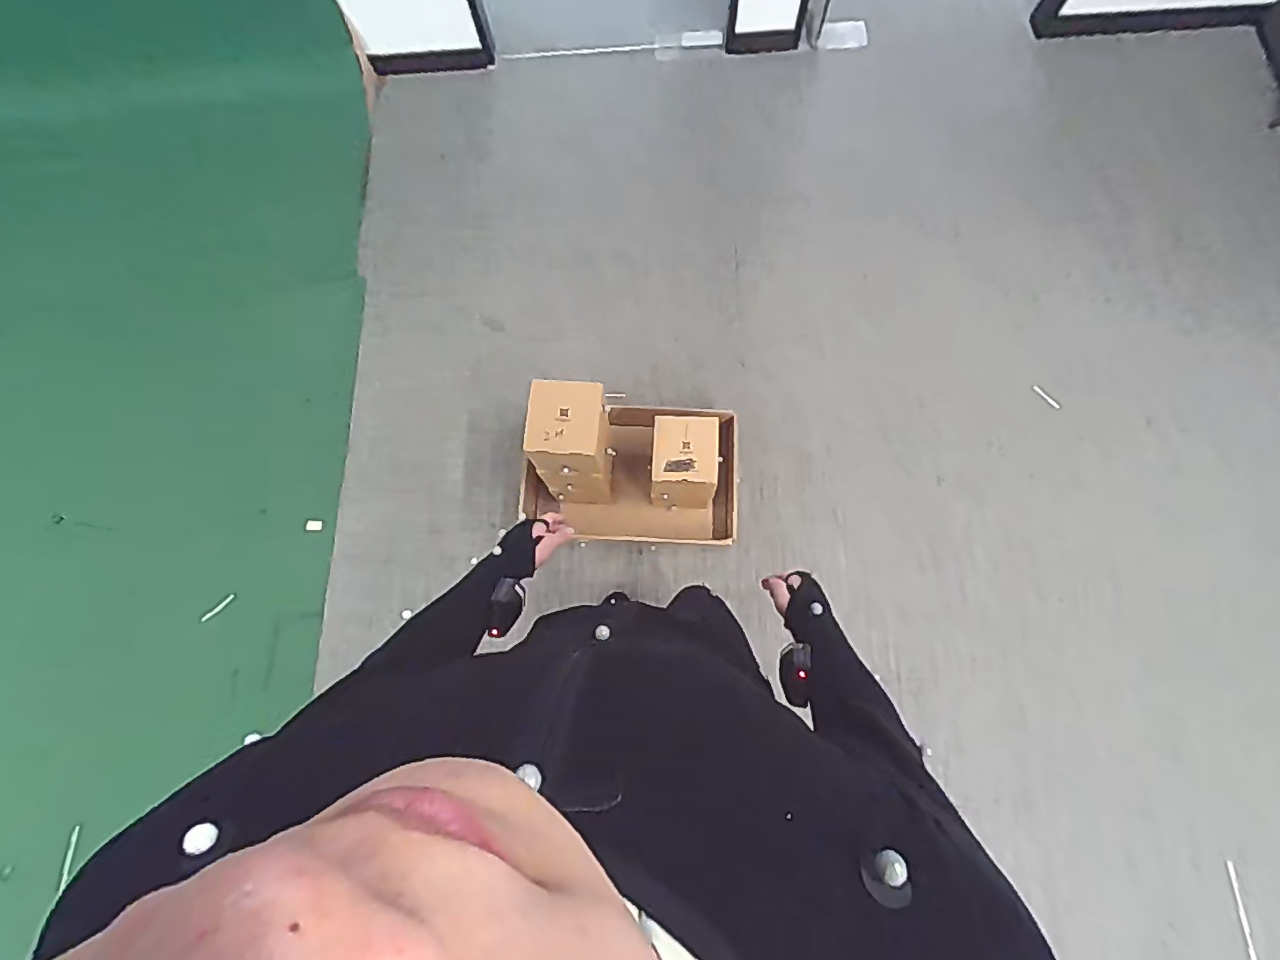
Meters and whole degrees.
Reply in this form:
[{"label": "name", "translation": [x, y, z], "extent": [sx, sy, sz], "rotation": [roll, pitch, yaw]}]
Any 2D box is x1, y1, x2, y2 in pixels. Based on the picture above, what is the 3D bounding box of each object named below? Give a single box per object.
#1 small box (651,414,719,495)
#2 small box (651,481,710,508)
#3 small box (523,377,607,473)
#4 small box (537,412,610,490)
[{"label": "small box", "translation": [0.120, -0.062, 1.427], "extent": [0.168, 0.176, 0.179], "rotation": [2, 75, 5]}, {"label": "small box", "translation": [0.121, -0.022, 1.587], "extent": [0.168, 0.176, 0.179], "rotation": [3, 77, 5]}, {"label": "small box", "translation": [-0.170, -0.127, 1.288], "extent": [0.168, 0.176, 0.179], "rotation": [4, 76, 3]}, {"label": "small box", "translation": [-0.170, -0.081, 1.447], "extent": [0.168, 0.176, 0.179], "rotation": [4, 76, 2]}]
